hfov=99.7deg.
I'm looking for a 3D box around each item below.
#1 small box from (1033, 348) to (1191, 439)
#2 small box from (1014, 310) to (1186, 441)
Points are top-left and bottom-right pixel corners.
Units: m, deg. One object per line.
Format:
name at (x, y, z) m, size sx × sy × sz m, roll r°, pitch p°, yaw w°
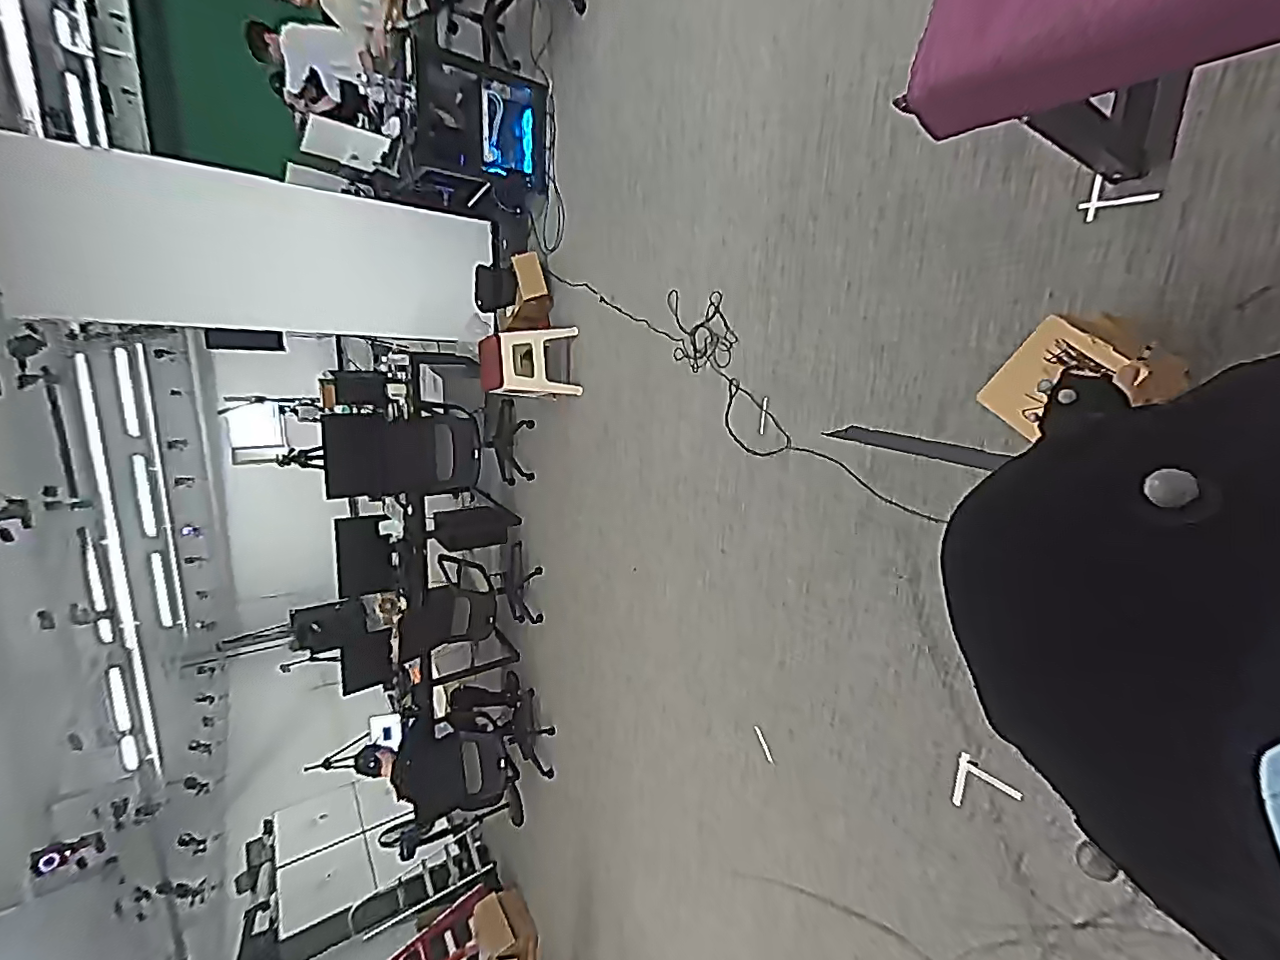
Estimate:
small box at (0.986, -0.203, 1.129) m, size 0.168 × 0.176 × 0.179 m, roll 48°, pitch 132°, yaw 39°
small box at (0.865, -0.192, 1.015) m, size 0.179 × 0.176 × 0.168 m, roll -51°, pitch 55°, yaw 46°
